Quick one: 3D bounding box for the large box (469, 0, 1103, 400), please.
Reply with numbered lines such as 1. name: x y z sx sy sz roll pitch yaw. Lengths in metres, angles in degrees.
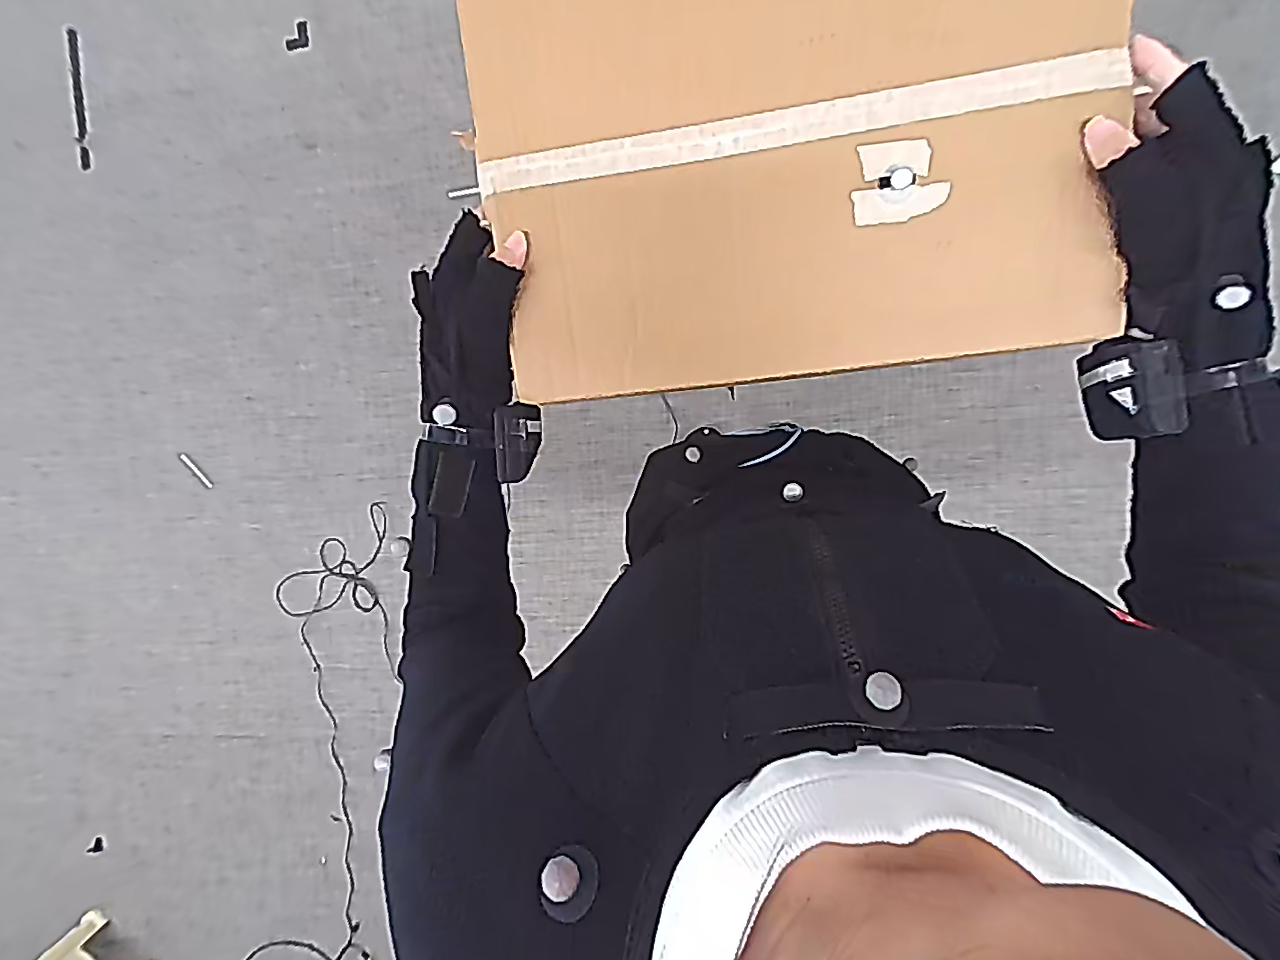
1. large box: 0.106 -0.256 0.510 0.408 0.320 0.320 -6 99 6
